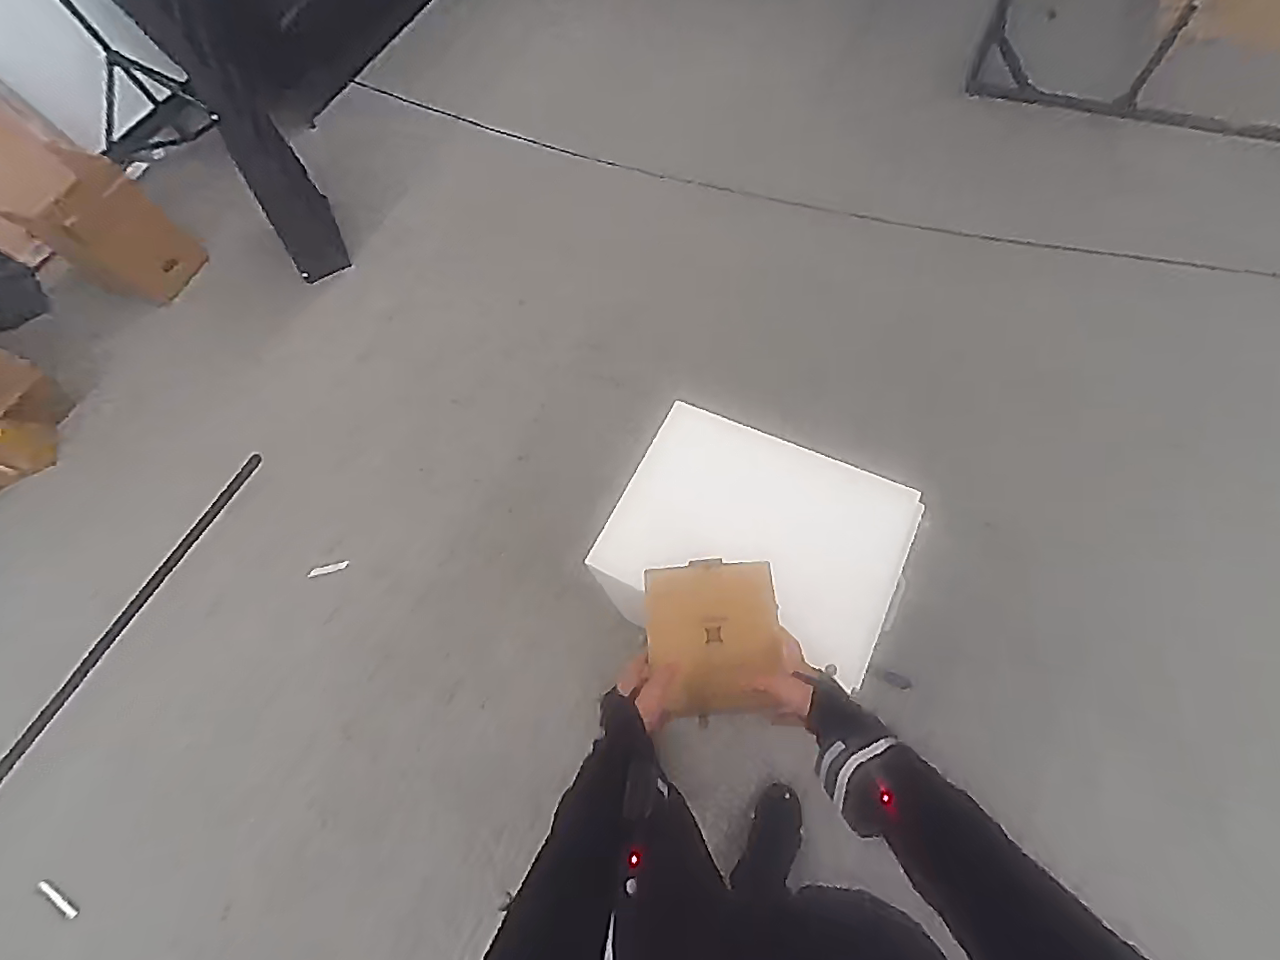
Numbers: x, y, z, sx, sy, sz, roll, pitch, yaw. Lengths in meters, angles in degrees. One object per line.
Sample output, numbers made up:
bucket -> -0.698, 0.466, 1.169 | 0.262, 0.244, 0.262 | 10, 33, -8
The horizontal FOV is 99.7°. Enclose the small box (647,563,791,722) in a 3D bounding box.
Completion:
small box -> 0.095, 0.225, 0.732 | 0.168, 0.176, 0.179 | -4, 62, 3
